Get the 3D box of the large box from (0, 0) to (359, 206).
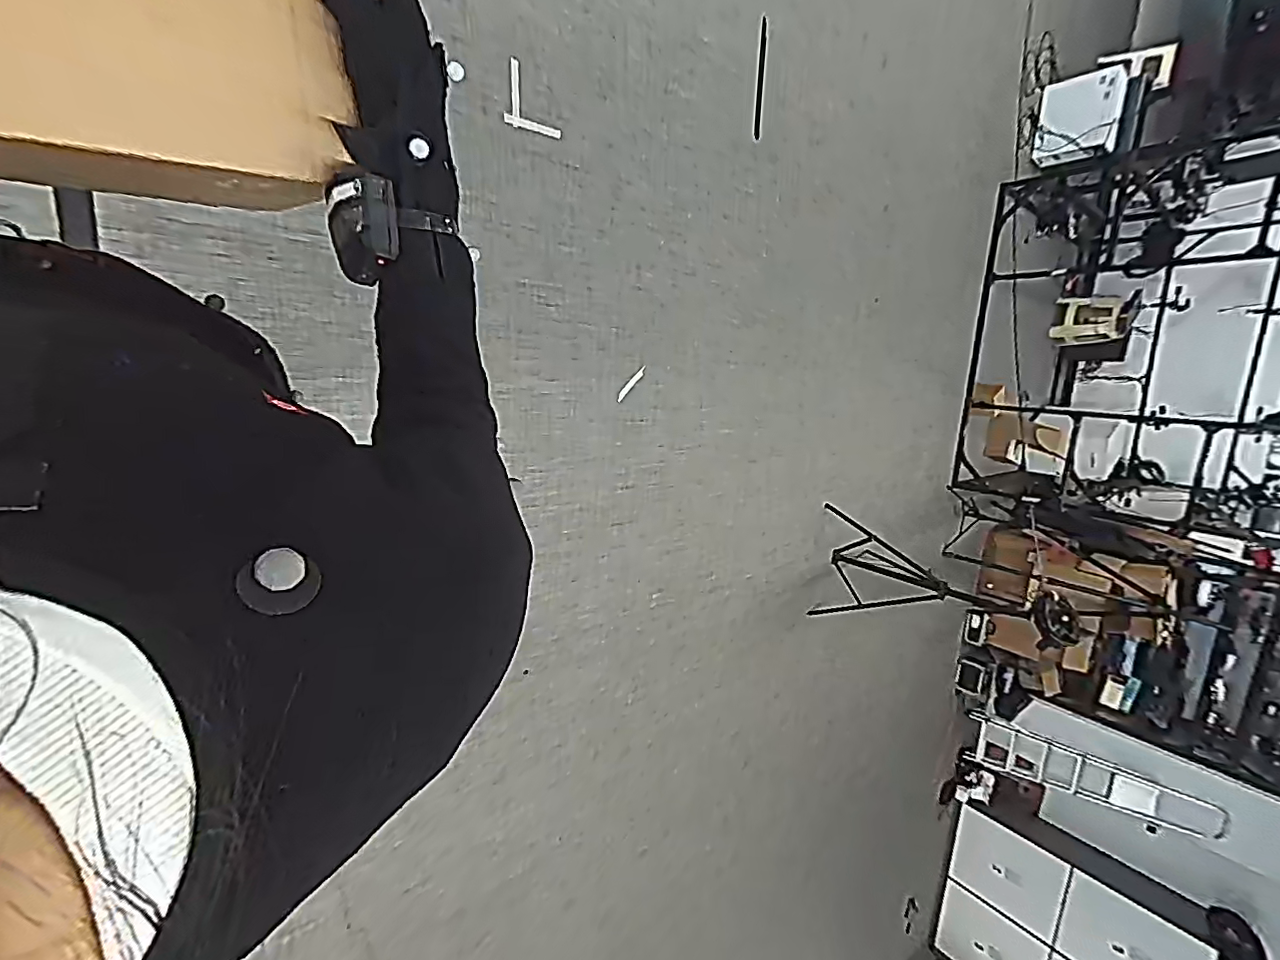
[{"bbox_3d":[-0.455,-0.372,0.336,0.408,0.320,0.320,-15,118,-41],"label":"large box"}]
